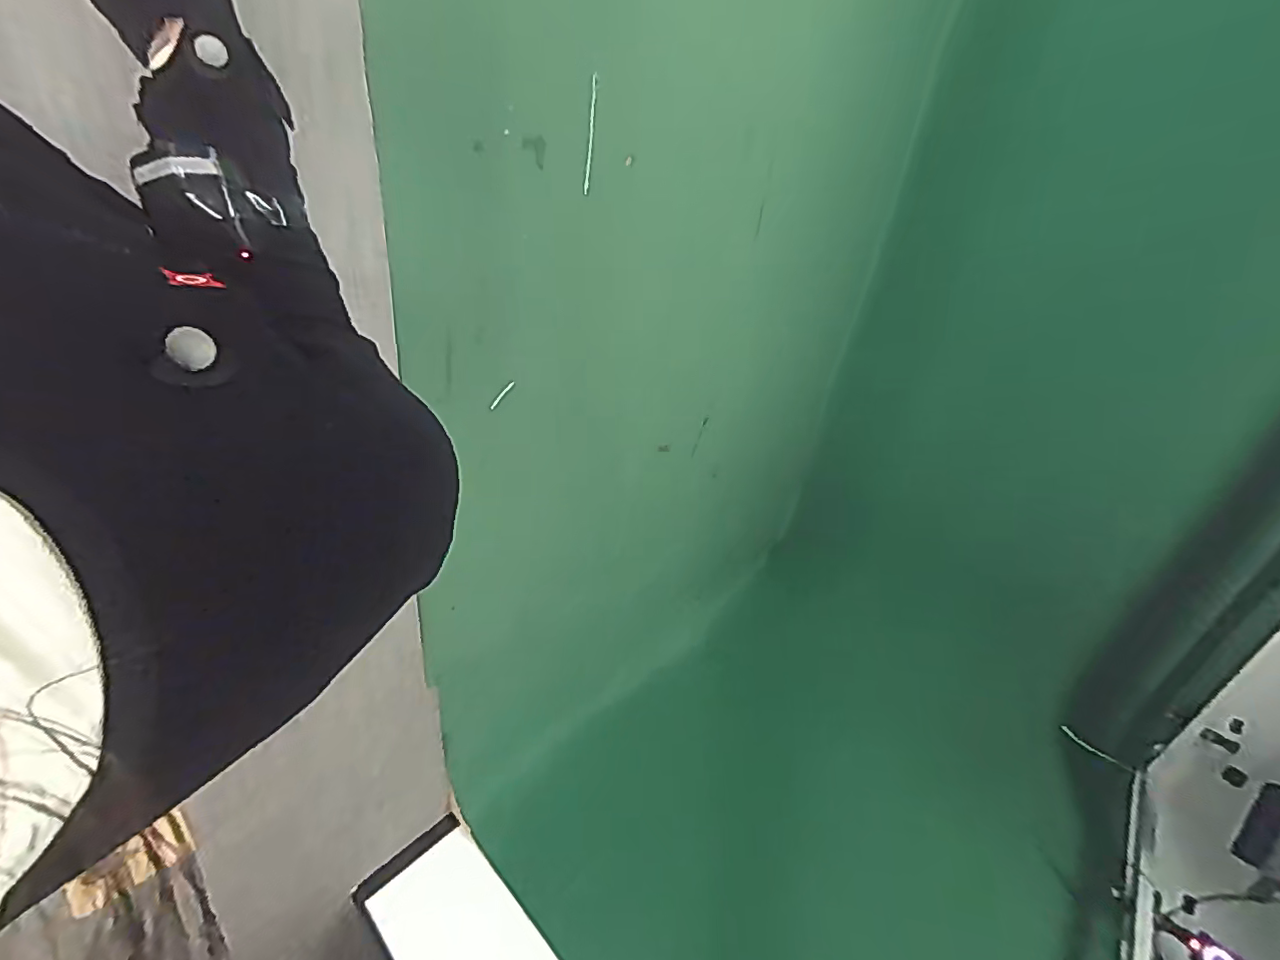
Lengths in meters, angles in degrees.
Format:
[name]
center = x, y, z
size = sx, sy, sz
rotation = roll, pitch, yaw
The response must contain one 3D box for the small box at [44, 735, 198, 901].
[small box]
center = -1.015, 0.651, 1.061
size = 0.179, 0.176, 0.168
rotation = -24, 127, -41
